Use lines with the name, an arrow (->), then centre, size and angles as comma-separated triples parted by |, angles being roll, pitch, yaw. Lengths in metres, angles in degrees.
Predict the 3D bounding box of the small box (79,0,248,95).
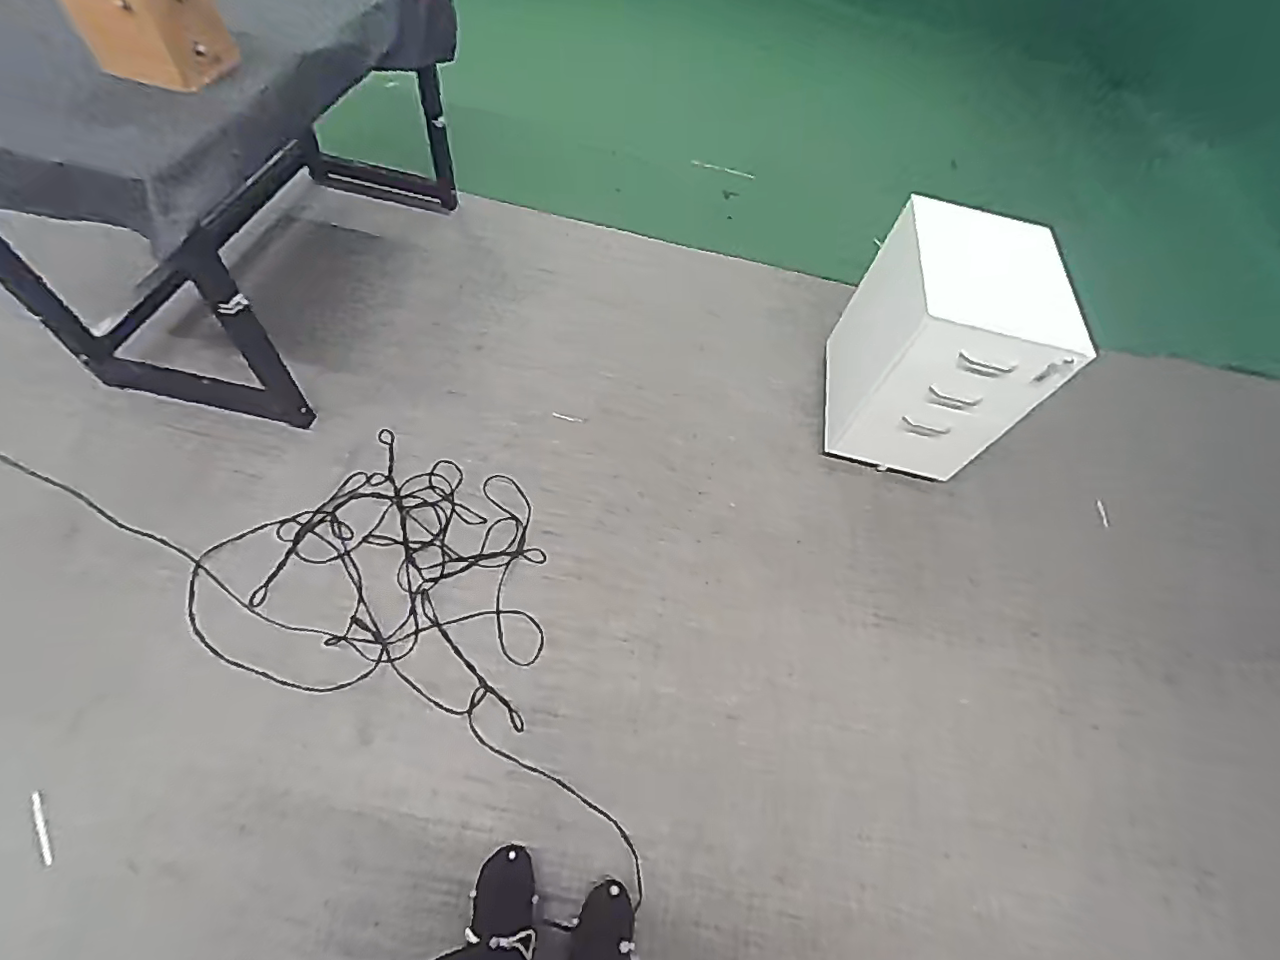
small box -> -0.908, -0.869, 1.028 | 0.179, 0.176, 0.168 | 14, 56, -1
